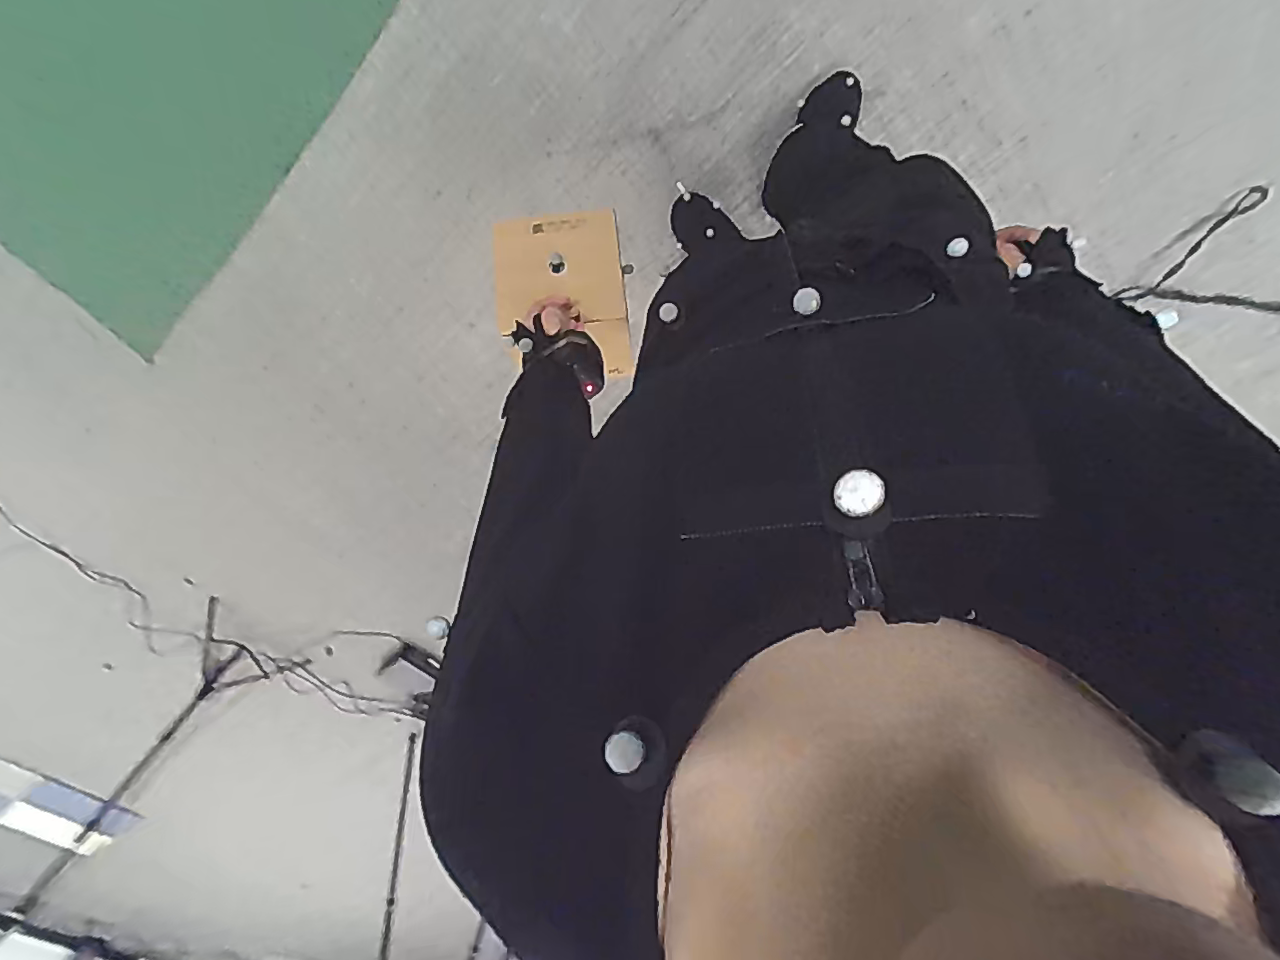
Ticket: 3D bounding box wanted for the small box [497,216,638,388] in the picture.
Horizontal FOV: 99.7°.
[{"bbox_3d":[-0.099,-0.255,0.780,0.168,0.176,0.179,-9,167,1],"label":"small box"}]
